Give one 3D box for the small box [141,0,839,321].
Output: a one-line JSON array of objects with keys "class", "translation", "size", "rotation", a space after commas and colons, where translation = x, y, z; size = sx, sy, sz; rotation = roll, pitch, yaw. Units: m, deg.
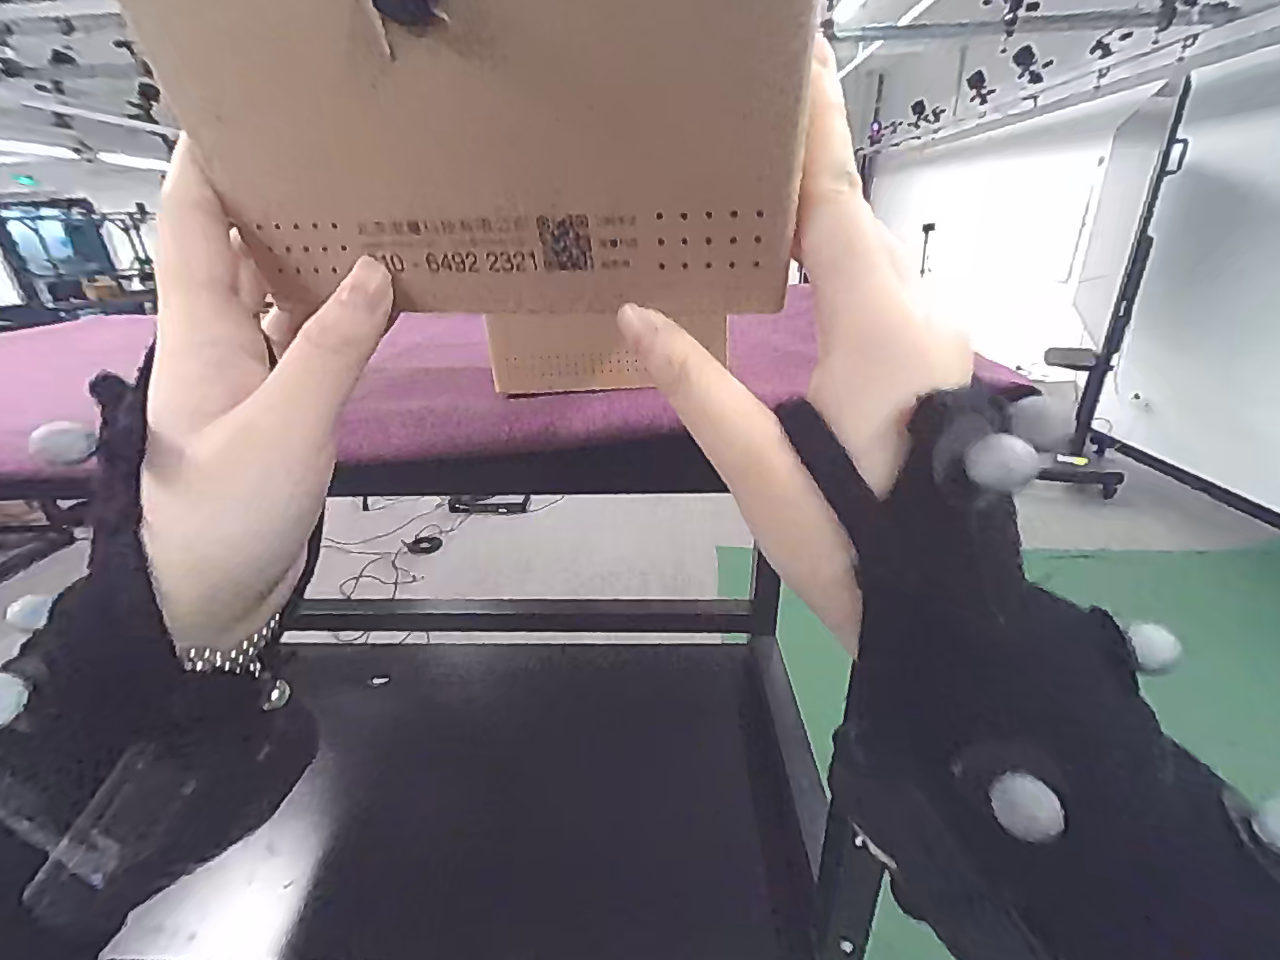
[{"class": "small box", "translation": [-0.026, -0.162, 0.171], "size": [0.168, 0.176, 0.179], "rotation": [4, 42, 9]}]
